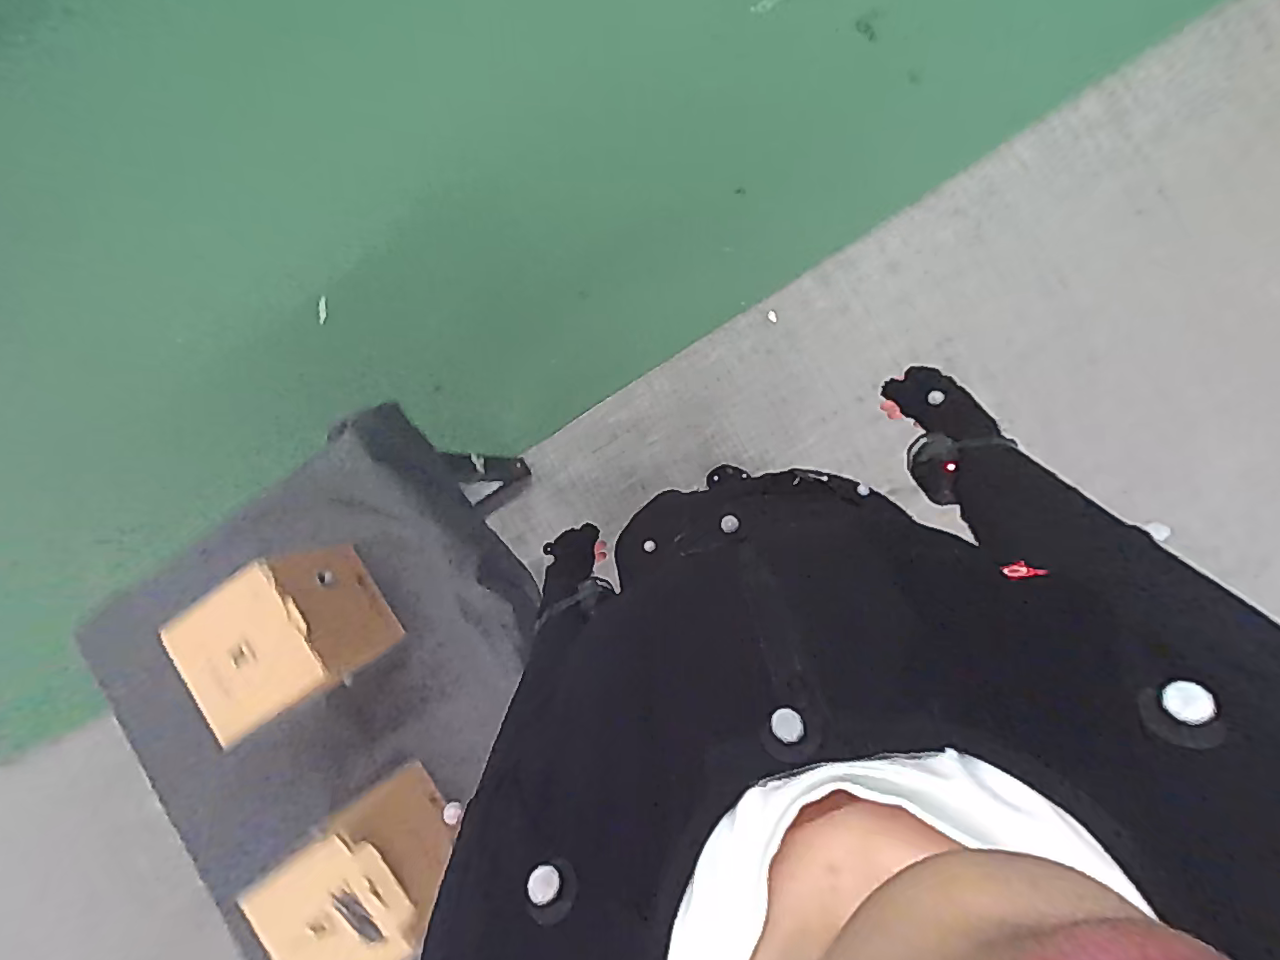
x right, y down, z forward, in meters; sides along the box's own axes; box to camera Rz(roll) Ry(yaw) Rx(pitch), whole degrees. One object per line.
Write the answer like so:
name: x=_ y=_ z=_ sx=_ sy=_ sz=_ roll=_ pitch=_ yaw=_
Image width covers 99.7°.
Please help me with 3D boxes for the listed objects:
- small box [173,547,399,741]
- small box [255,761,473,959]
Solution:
small box: x=-0.468 y=0.211 z=0.748 sx=0.179 sy=0.176 sz=0.168 roll=-36 pitch=85 yaw=9
small box: x=-0.354 y=0.526 z=0.735 sx=0.179 sy=0.176 sz=0.168 roll=-37 pitch=85 yaw=9
